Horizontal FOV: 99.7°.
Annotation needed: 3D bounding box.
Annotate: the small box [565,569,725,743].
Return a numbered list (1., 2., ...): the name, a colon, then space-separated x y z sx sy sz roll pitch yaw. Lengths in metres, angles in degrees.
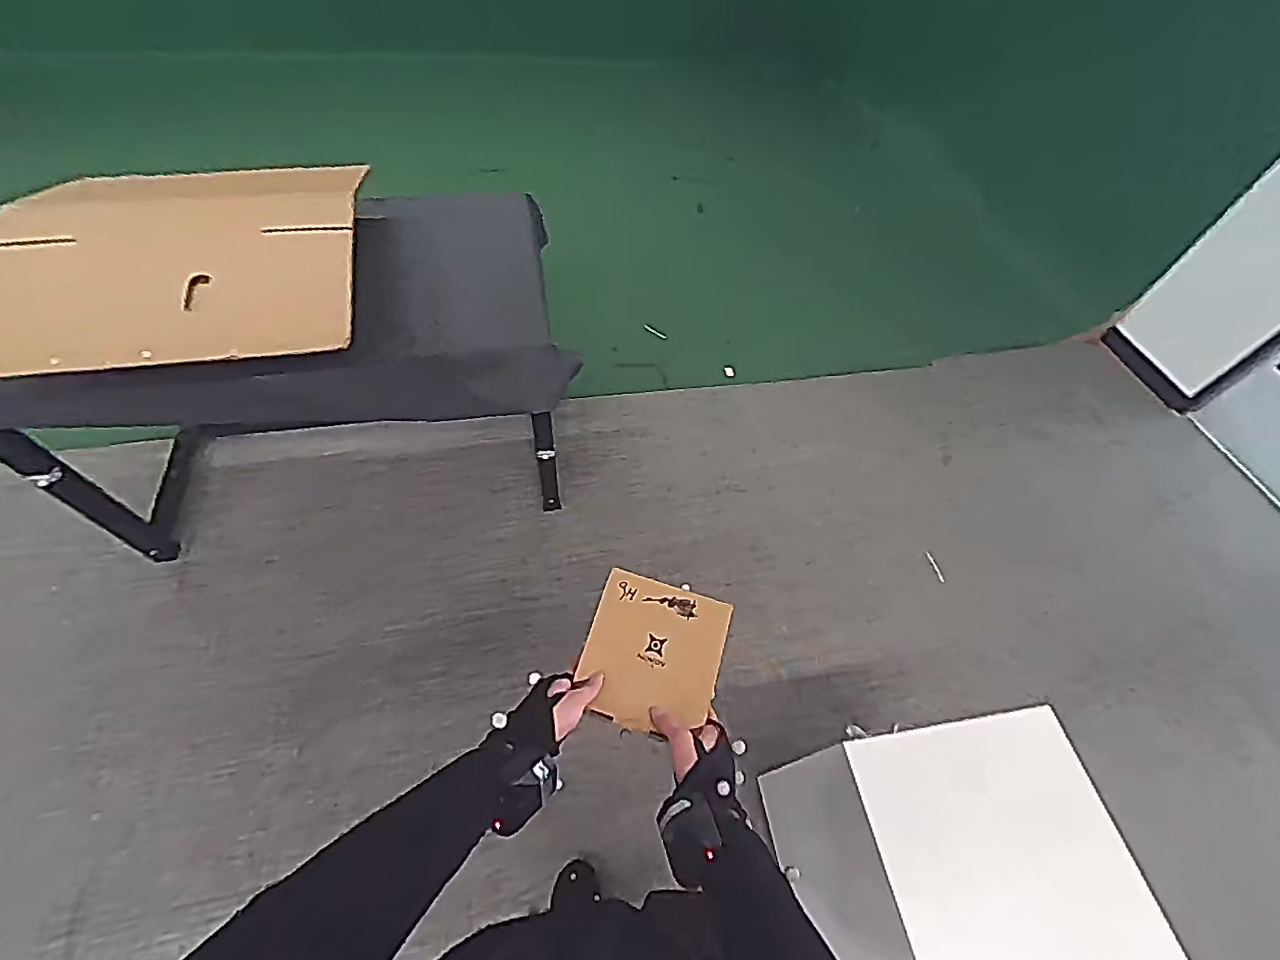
1. small box: 0.008 0.246 0.741 0.168 0.176 0.179 15 63 4
